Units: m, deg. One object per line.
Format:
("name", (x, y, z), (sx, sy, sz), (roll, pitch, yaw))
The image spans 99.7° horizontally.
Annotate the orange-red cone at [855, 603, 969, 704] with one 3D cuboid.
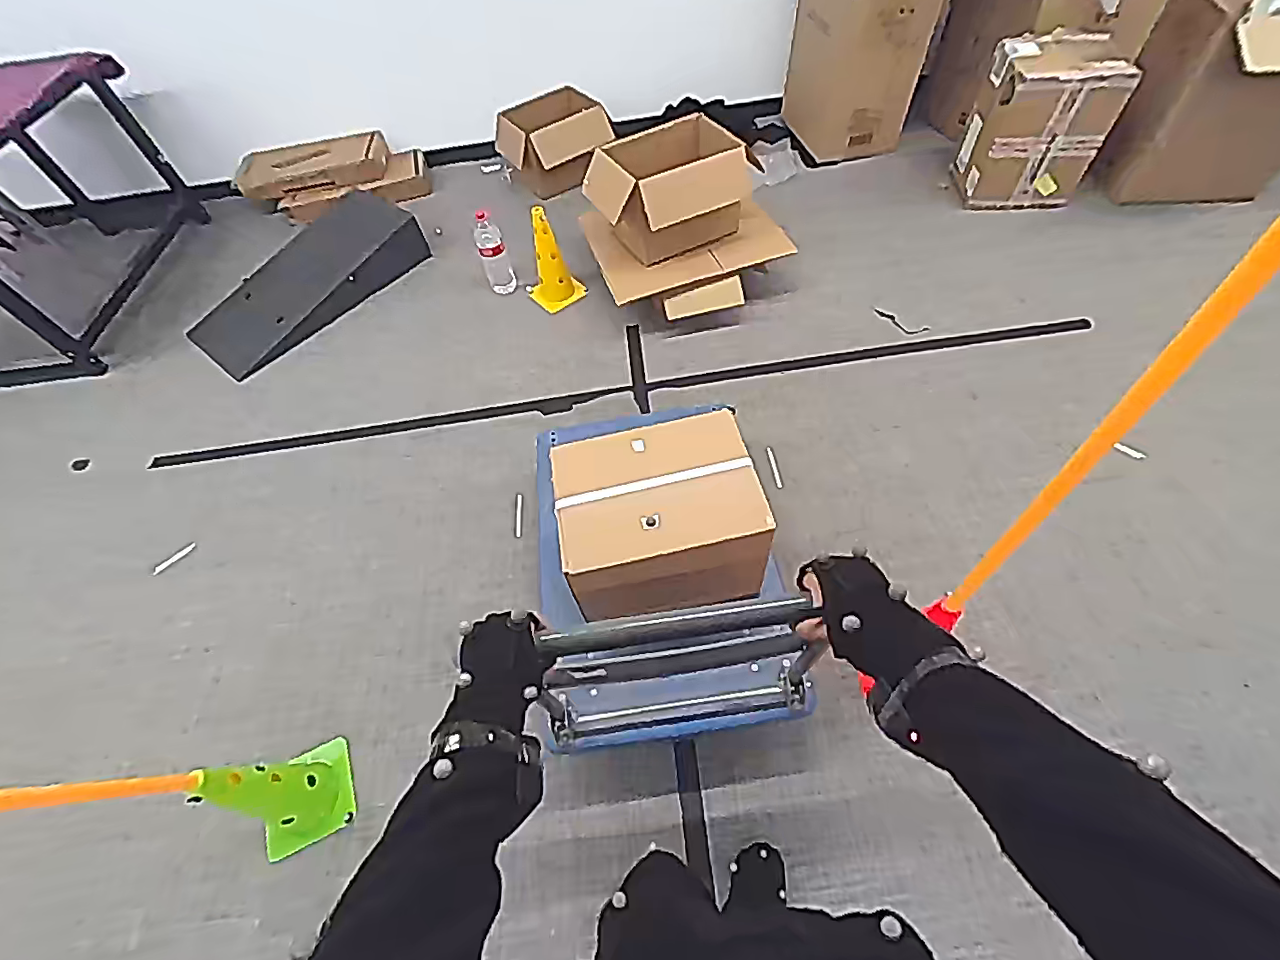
("orange-red cone", (0.619, 0.344, 1.168), (0.199, 0.360, 0.198), (-2, 56, 4))
